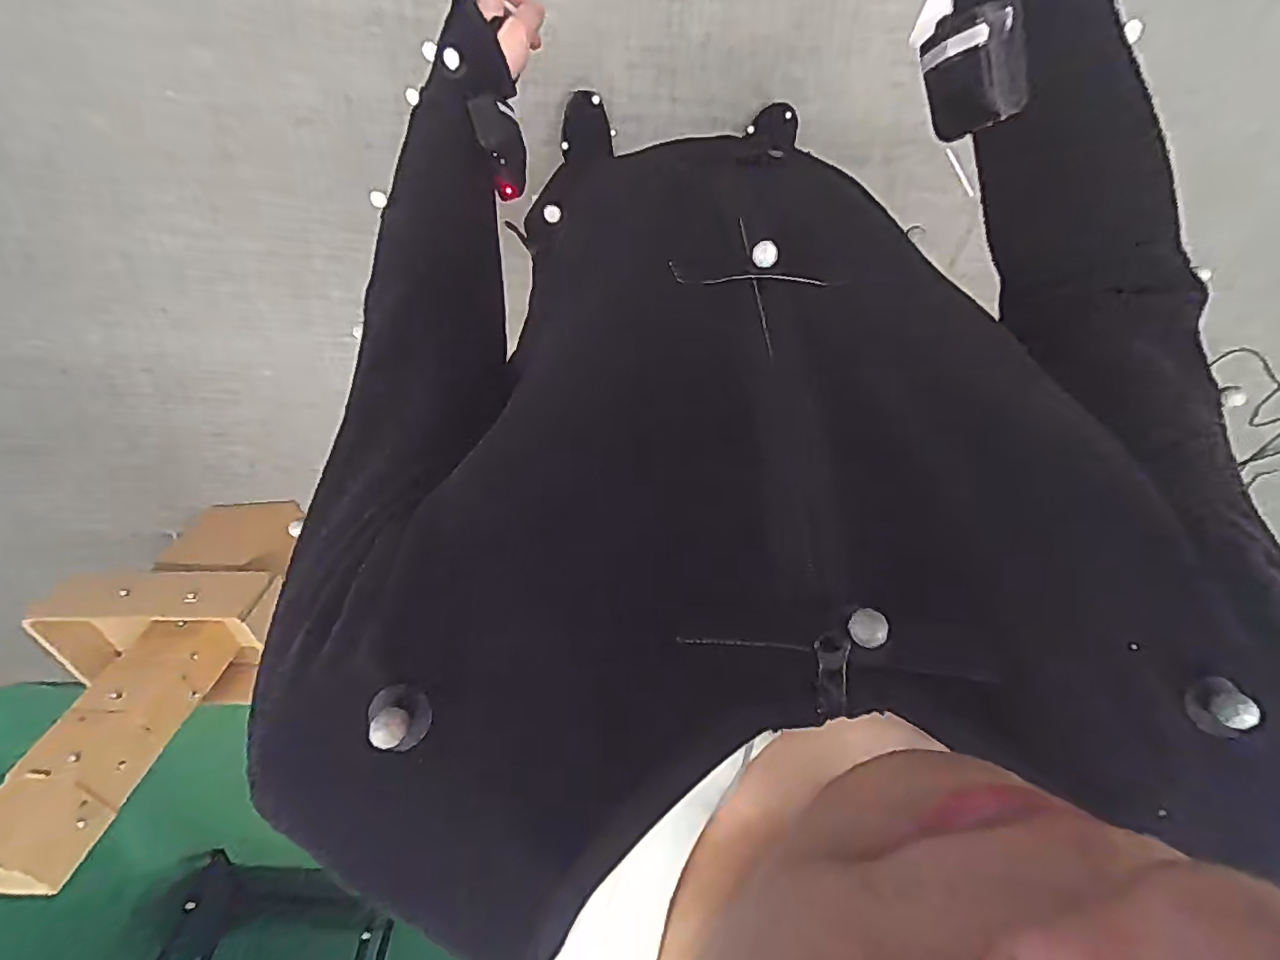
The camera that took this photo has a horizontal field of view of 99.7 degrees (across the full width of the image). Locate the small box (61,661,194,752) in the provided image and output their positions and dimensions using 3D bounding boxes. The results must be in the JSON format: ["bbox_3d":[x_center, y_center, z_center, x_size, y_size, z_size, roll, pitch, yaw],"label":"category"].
[{"bbox_3d":[-1.368,0.611,1.466,0.179,0.176,0.168,1,125,2],"label":"small box"}]

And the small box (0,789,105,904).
[{"bbox_3d":[-1.379,0.810,1.203,0.179,0.176,0.168,0,126,3],"label":"small box"}]

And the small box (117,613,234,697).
[{"bbox_3d":[-1.359,0.517,1.600,0.168,0.176,0.179,0,125,2],"label":"small box"}]
